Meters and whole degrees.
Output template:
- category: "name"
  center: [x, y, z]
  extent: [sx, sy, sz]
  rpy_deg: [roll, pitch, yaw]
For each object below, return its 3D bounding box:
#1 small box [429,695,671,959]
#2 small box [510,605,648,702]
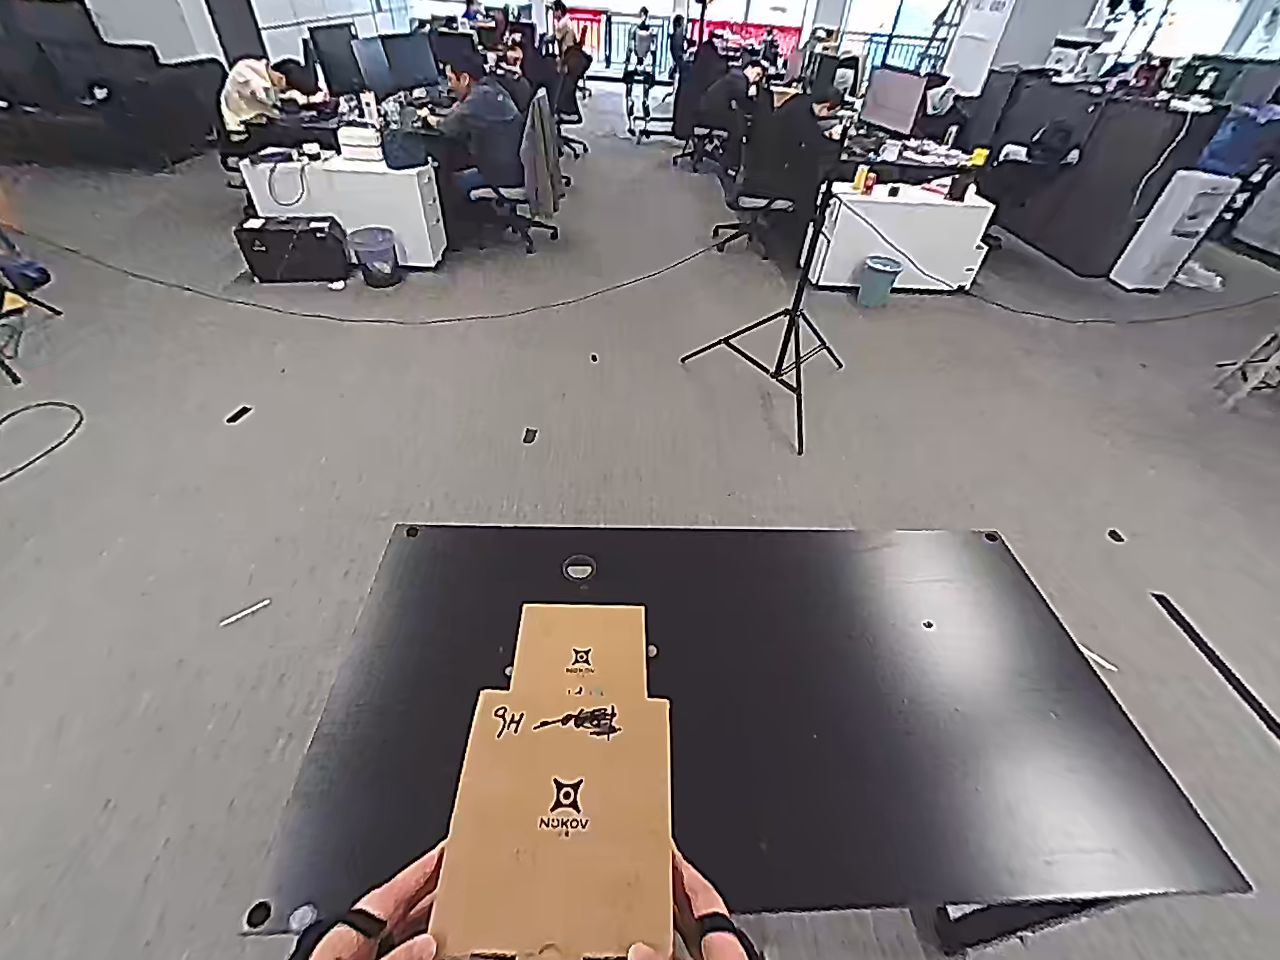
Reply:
- category: "small box"
  center: [-0.063, 0.308, 0.471]
  extent: [0.168, 0.176, 0.179]
  rpy_deg: [4, 48, -3]
- category: "small box"
  center: [-0.078, 0.290, 0.724]
  extent: [0.168, 0.176, 0.179]
  rpy_deg: [2, 42, -3]
